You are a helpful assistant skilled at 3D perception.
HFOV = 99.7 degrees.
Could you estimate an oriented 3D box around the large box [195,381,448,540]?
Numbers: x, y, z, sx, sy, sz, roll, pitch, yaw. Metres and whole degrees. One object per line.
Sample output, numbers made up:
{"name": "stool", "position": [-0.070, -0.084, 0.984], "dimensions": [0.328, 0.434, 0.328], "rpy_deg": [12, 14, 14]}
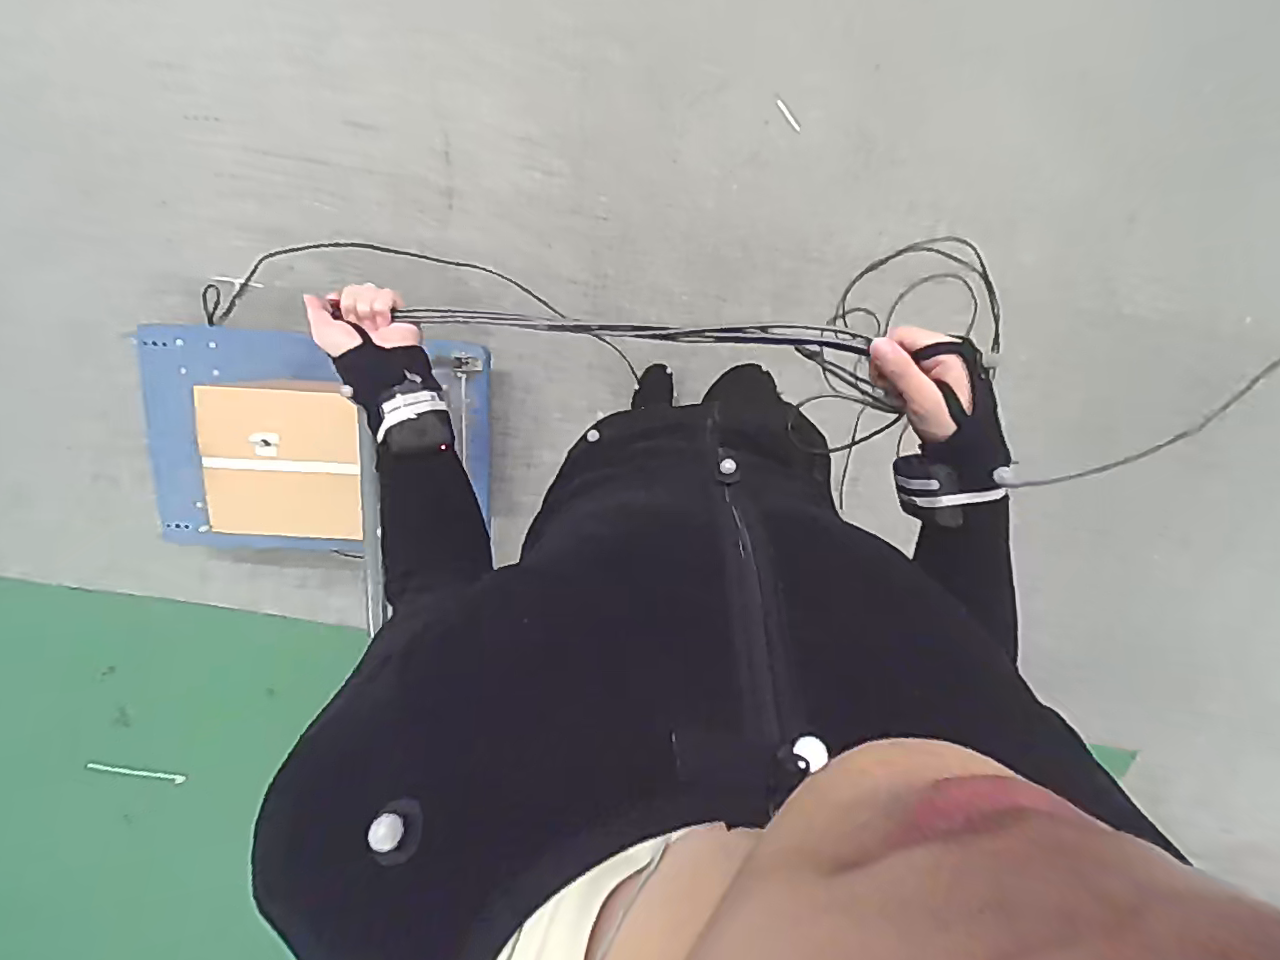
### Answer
{"name": "large box", "position": [-0.700, -0.062, 1.260], "dimensions": [0.408, 0.320, 0.320], "rpy_deg": [3, 102, -1]}
